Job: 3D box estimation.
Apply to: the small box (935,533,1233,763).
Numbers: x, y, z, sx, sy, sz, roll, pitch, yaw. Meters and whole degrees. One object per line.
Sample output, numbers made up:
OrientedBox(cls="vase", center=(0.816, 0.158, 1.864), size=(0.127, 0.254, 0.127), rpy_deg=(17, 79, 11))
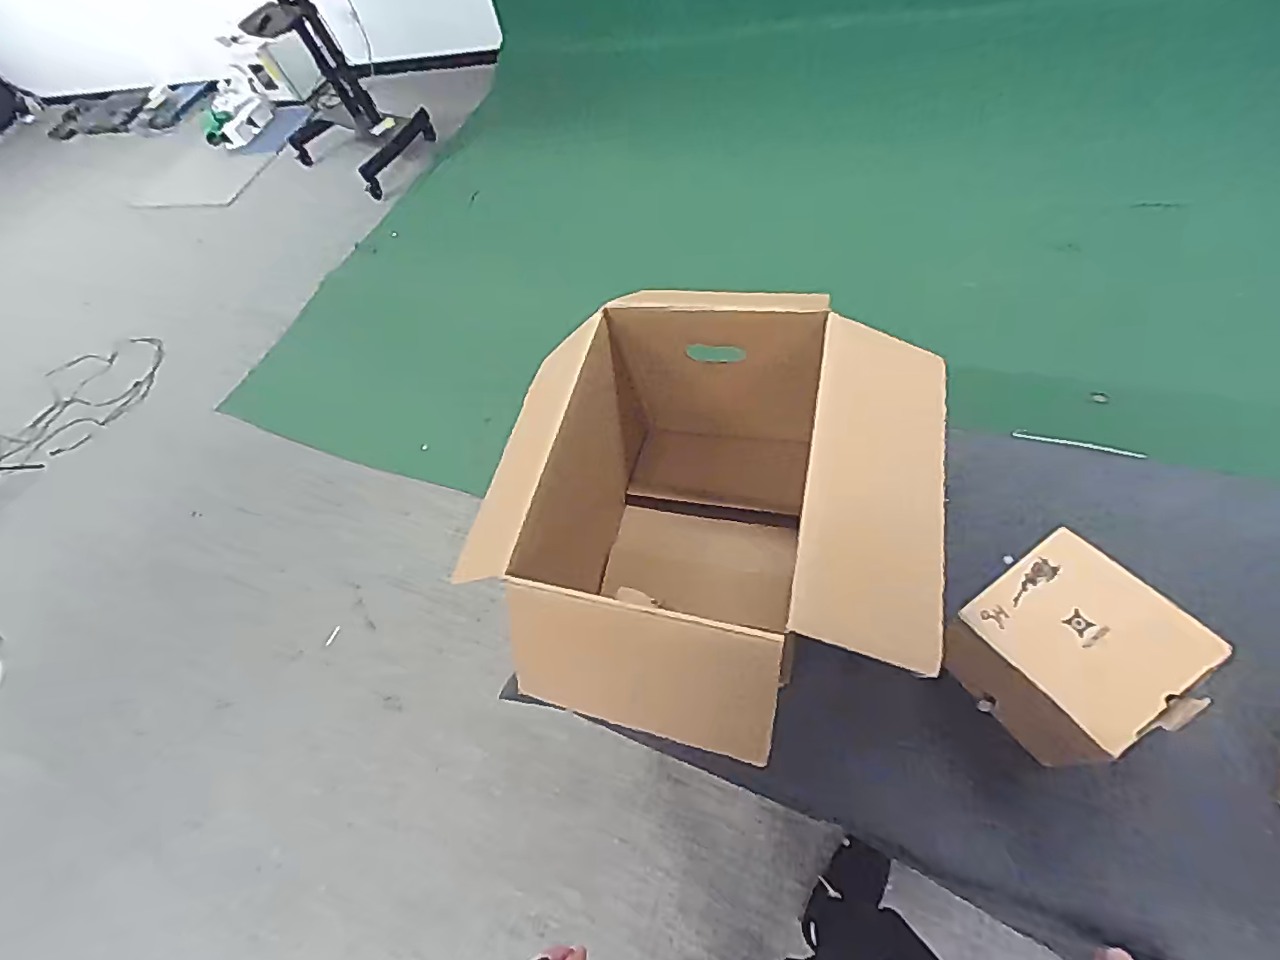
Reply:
OrientedBox(cls="small box", center=(0.483, 0.198, 0.625), size=(0.168, 0.176, 0.179), rpy_deg=(-36, 57, -5))
